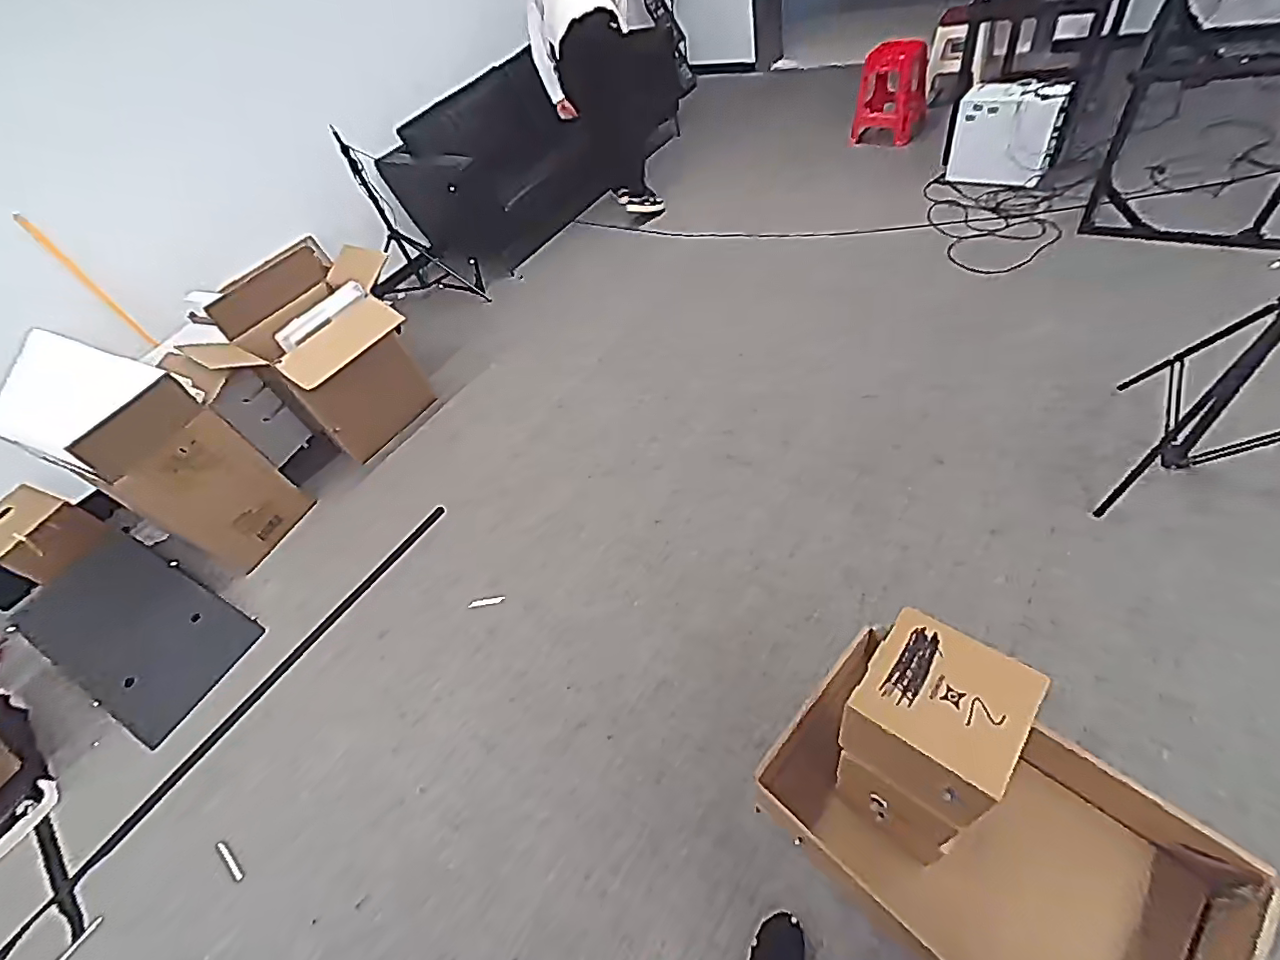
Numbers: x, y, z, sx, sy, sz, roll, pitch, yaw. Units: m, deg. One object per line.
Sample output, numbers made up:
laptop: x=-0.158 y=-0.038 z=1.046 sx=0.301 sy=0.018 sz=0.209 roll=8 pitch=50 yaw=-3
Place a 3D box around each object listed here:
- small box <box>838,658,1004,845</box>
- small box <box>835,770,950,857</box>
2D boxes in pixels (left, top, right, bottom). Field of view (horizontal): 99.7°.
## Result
small box: x=0.419 y=0.417 z=0.832 sx=0.168 sy=0.176 sz=0.179 roll=26 pitch=61 yaw=33
small box: x=0.460 y=0.525 z=0.948 sx=0.179 sy=0.176 sz=0.168 roll=29 pitch=64 yaw=32
